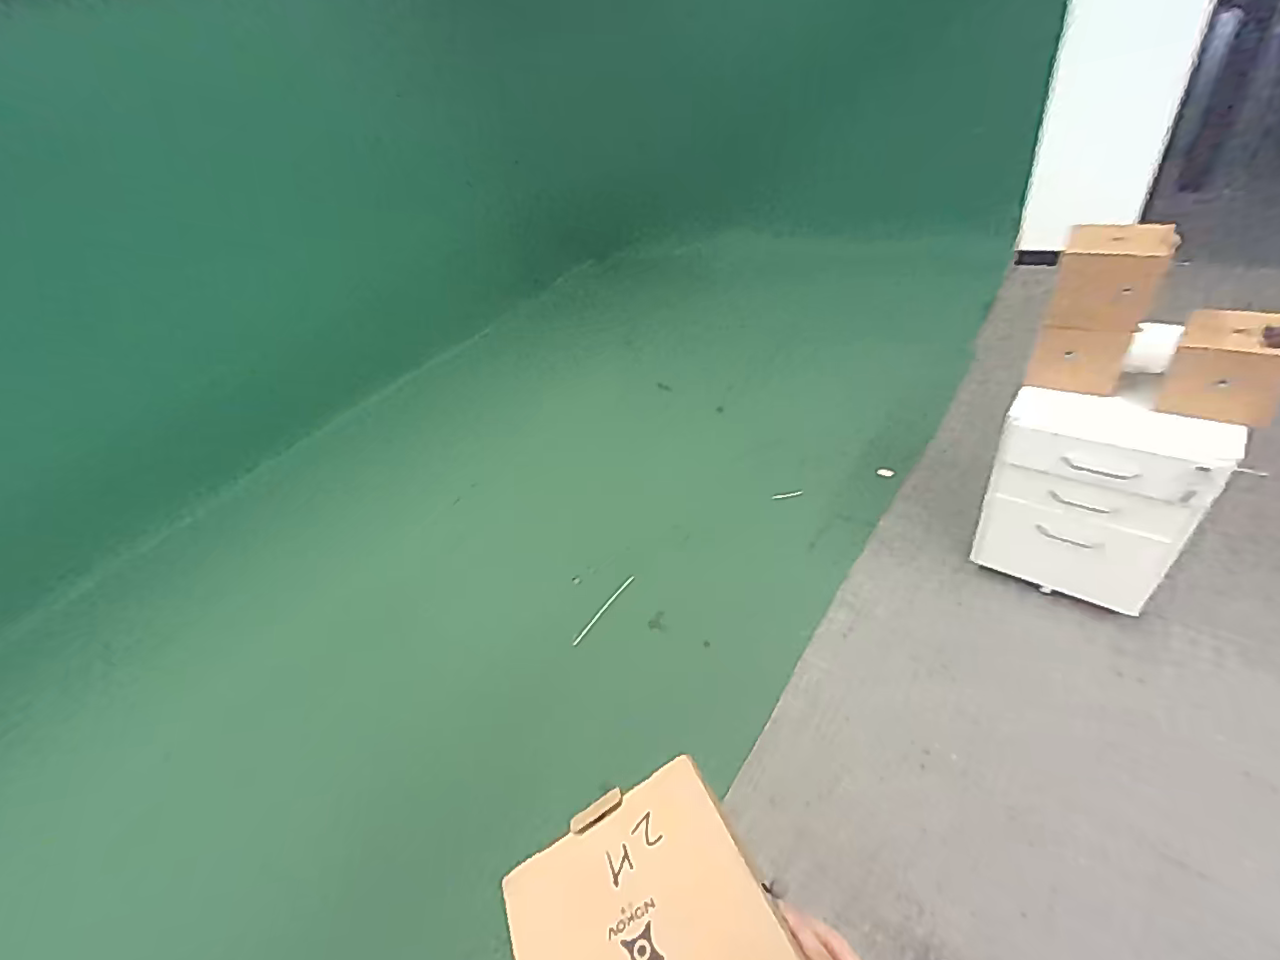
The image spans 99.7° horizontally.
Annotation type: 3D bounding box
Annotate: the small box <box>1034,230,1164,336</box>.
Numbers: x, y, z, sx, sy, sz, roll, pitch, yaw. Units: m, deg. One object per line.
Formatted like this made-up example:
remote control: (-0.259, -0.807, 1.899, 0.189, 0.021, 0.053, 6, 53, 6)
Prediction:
small box: (1.010, -0.434, 1.198, 0.179, 0.176, 0.168, 17, 49, 32)

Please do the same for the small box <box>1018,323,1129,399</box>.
small box: (1.043, -0.314, 1.303, 0.179, 0.176, 0.168, 18, 51, 33)
